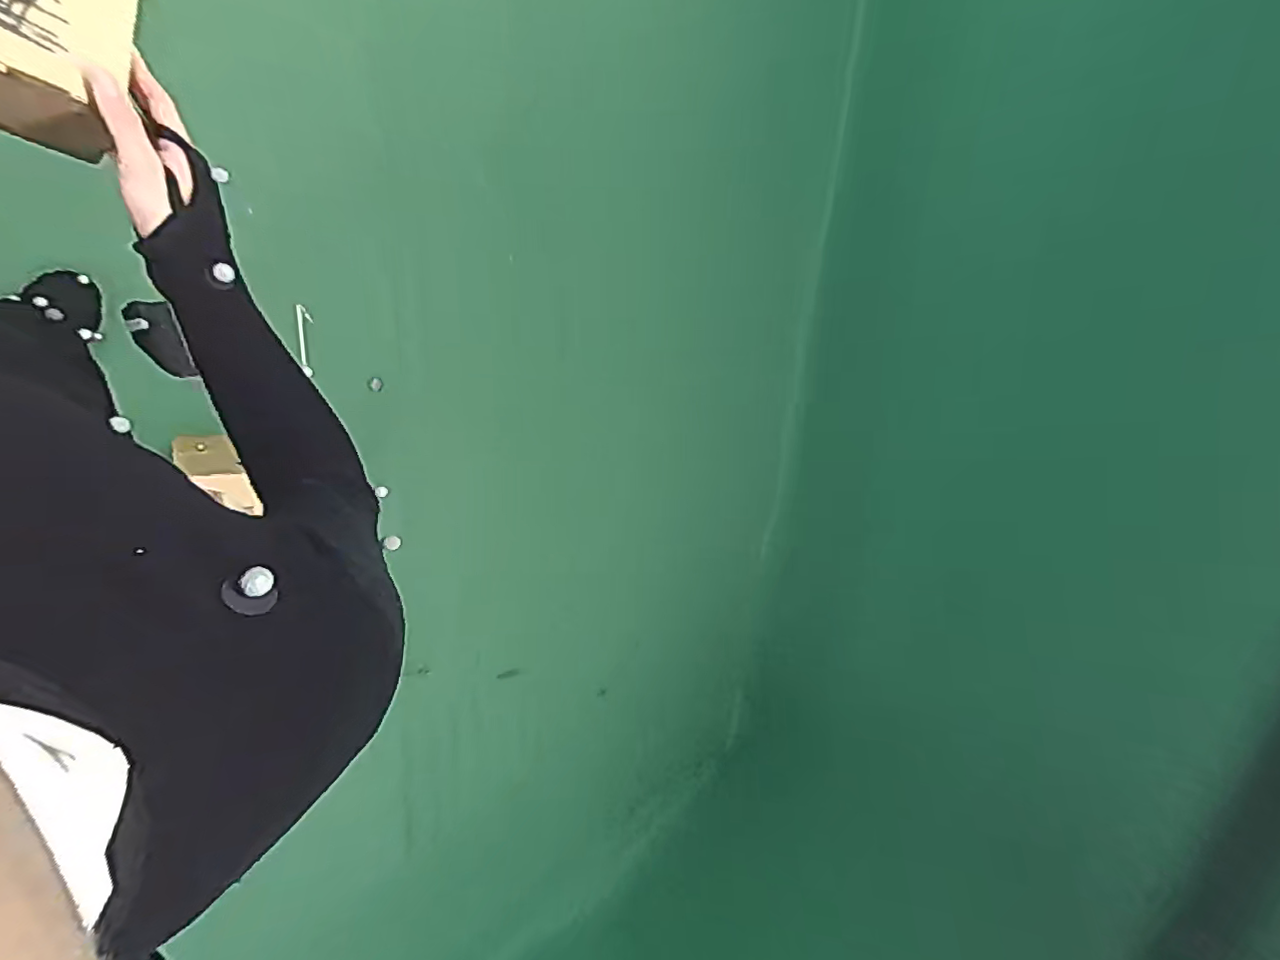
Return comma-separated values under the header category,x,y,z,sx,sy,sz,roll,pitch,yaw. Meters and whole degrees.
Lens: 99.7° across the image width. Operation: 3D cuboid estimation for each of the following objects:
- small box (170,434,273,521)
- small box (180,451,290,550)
category,x,y,z,sx,sy,sz,roll,pitch,yaw
small box,-0.993,-0.011,1.290,0.179,0.176,0.168,-8,112,-42
small box,-0.883,0.037,1.179,0.179,0.176,0.168,-7,112,-43
